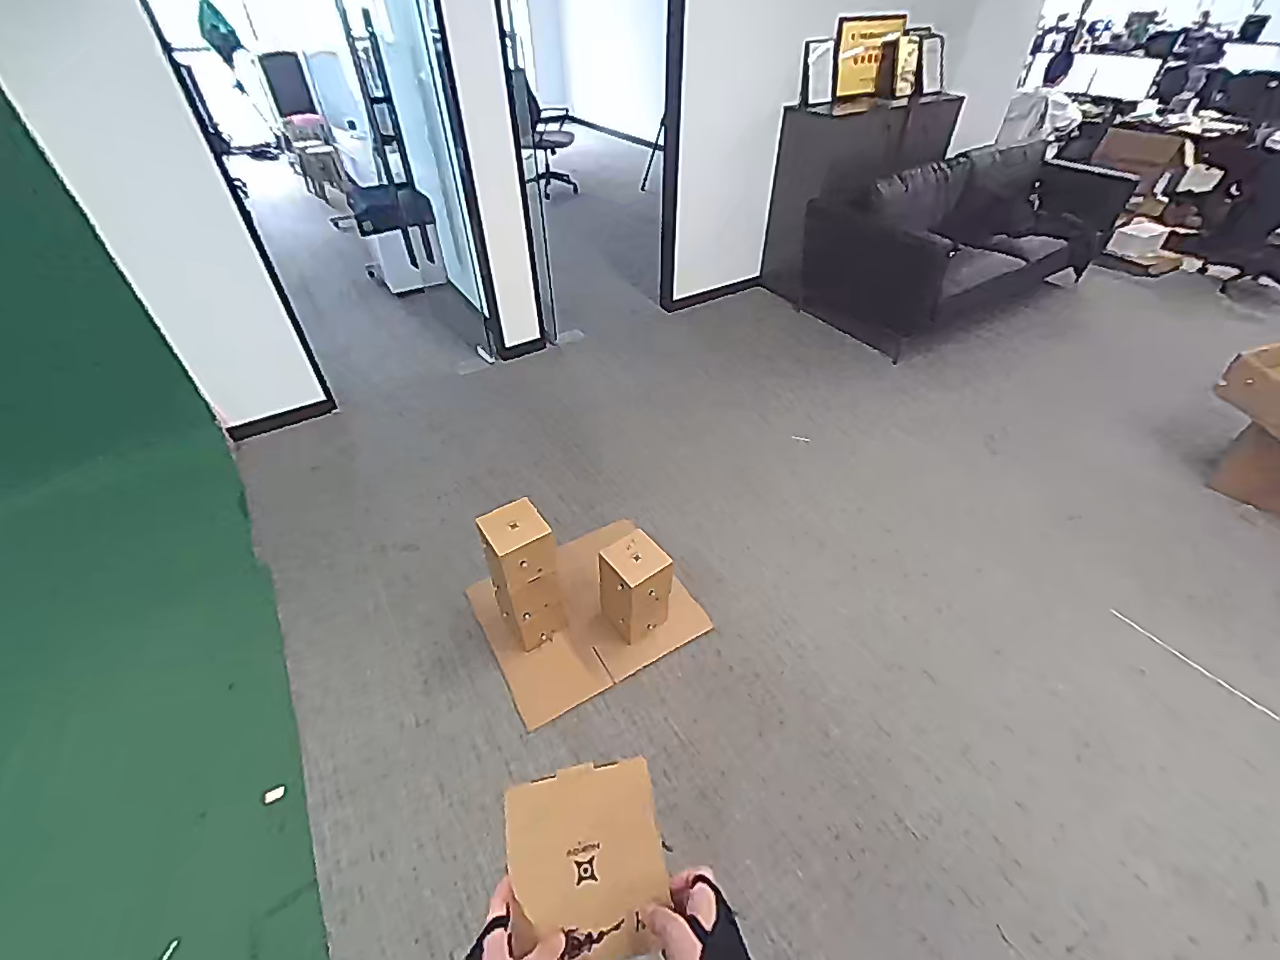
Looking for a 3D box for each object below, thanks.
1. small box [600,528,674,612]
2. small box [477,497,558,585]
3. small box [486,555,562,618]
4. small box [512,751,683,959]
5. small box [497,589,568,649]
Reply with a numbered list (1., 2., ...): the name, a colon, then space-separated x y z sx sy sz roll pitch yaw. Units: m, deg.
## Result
1. small box: -0.009 0.291 1.713 0.168 0.176 0.179 -27 49 -28
2. small box: -0.357 0.187 1.598 0.168 0.176 0.179 -26 48 -25
3. small box: -0.359 0.309 1.705 0.168 0.176 0.179 -26 48 -25
4. small box: -0.050 0.443 0.637 0.168 0.176 0.179 -10 55 -4
5. small box: -0.358 0.429 1.815 0.168 0.176 0.179 -29 50 -27
